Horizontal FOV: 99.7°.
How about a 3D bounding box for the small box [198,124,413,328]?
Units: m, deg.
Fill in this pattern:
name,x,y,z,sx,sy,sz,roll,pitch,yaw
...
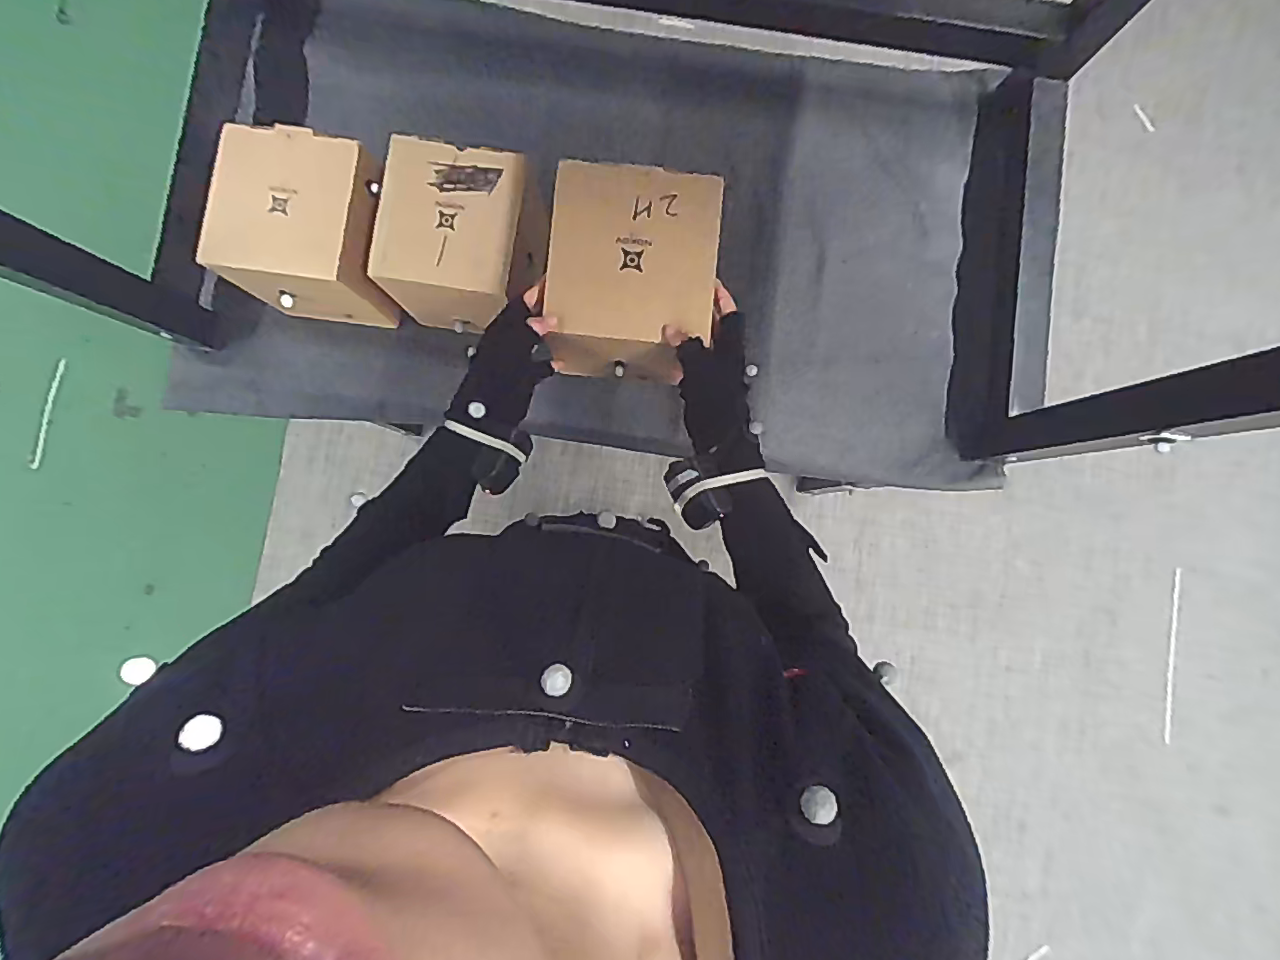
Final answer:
name,x,y,z,sx,sy,sz,roll,pitch,yaw
small box,-0.418,-0.315,0.707,0.168,0.176,0.179,7,85,-1
